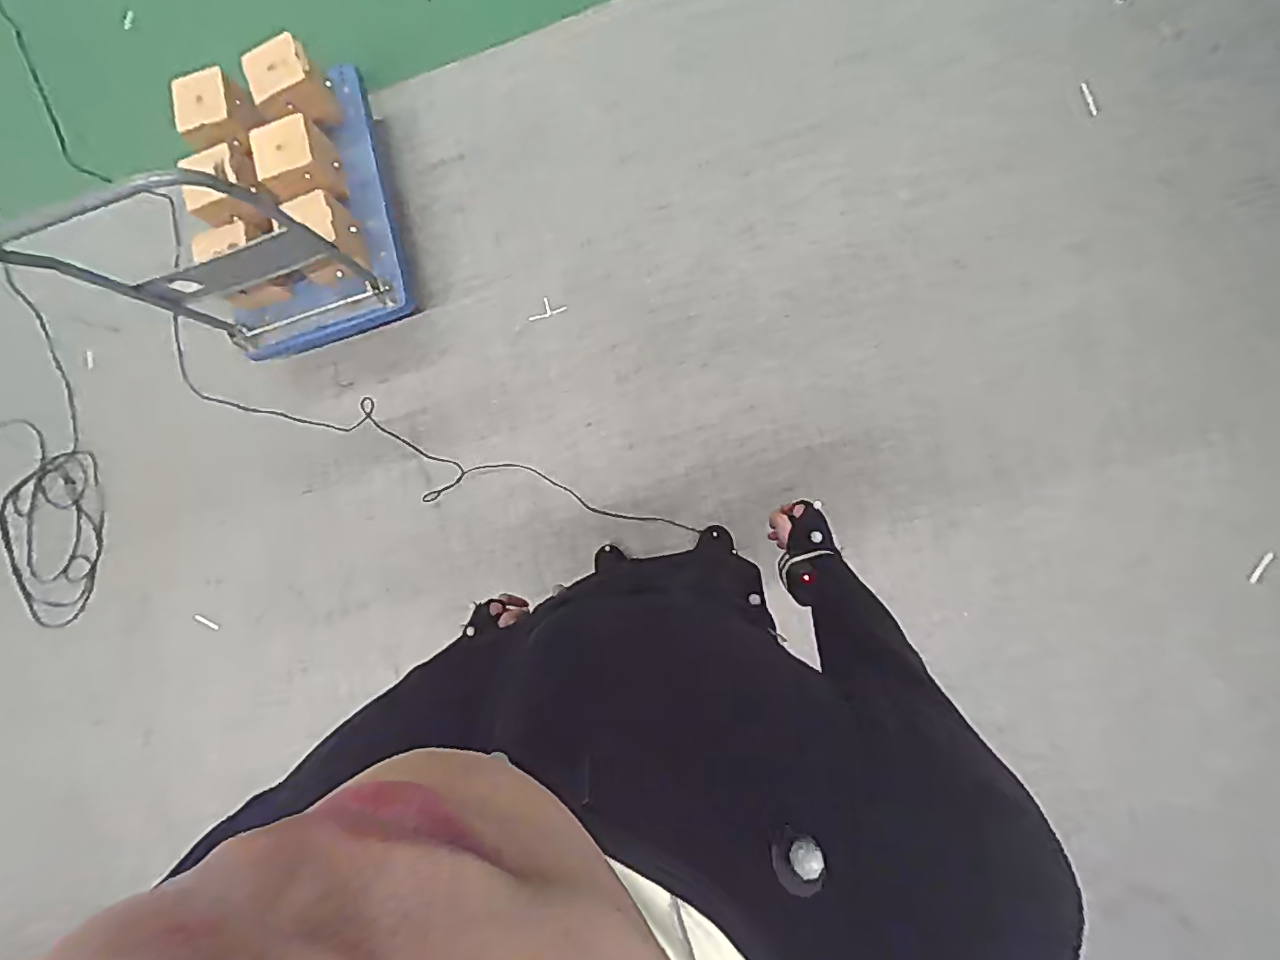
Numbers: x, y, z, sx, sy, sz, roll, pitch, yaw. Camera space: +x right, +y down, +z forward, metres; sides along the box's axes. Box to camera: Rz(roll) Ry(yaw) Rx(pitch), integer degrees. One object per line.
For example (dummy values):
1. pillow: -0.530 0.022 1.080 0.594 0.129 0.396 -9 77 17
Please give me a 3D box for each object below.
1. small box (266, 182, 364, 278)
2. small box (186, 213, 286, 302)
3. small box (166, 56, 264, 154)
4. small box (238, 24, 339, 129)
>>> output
1. small box: -0.942 -0.727 1.588 0.179 0.176 0.168 -17 84 5
2. small box: -1.195 -0.657 1.615 0.179 0.176 0.168 -13 84 7
3. small box: -1.299 -1.141 1.664 0.168 0.176 0.179 -12 85 5
4. small box: -1.057 -1.208 1.635 0.179 0.176 0.168 -15 87 5
